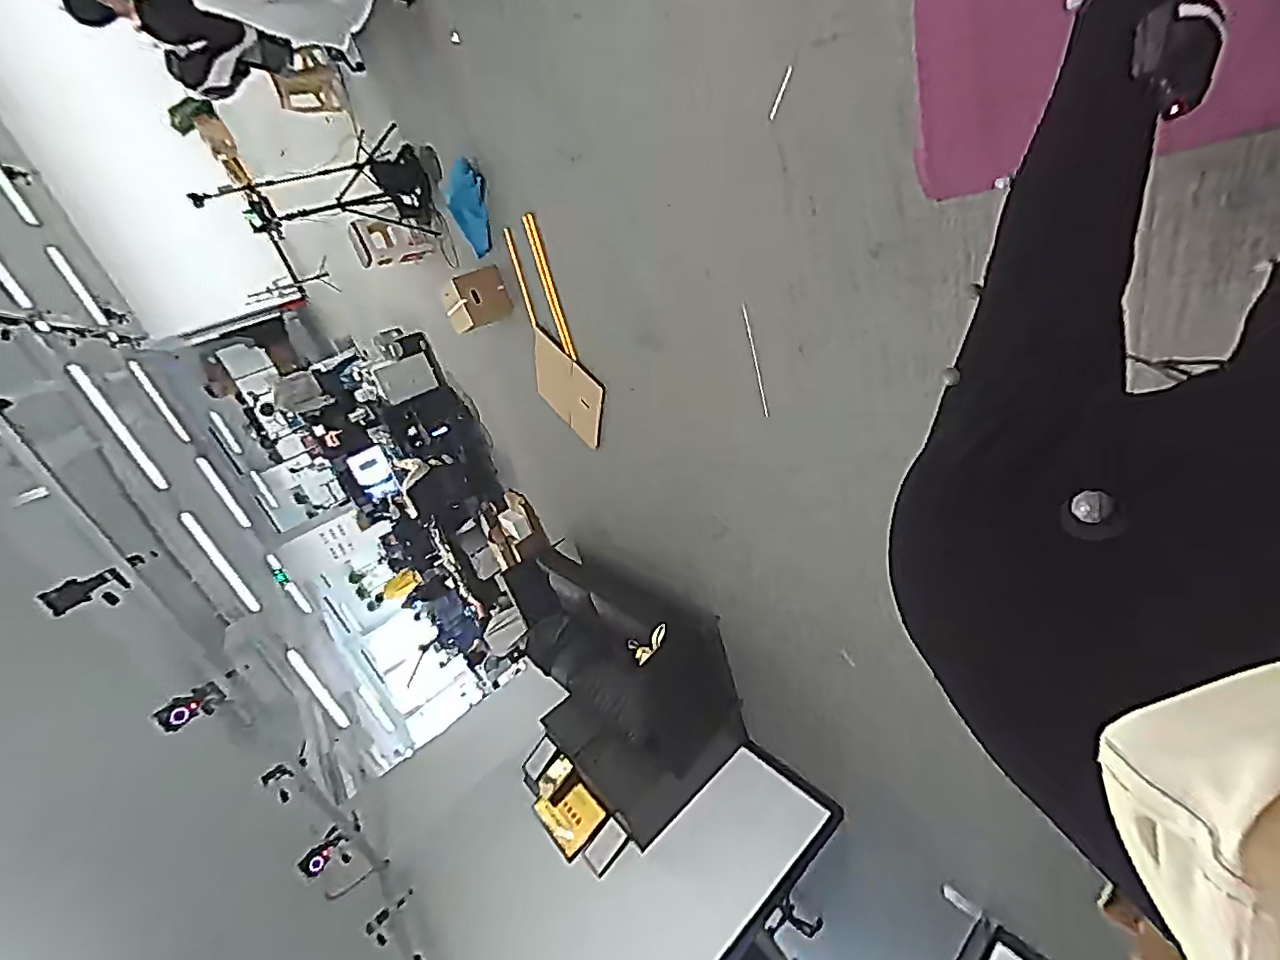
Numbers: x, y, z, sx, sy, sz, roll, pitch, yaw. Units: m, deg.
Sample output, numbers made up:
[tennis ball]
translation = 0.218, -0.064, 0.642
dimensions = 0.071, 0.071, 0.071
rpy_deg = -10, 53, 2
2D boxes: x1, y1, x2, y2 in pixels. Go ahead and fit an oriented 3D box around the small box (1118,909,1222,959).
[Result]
[small box]
translation = 1.294, 1.210, 1.321
dimensions = 0.168, 0.176, 0.179
rpy_deg = 25, 139, 47
